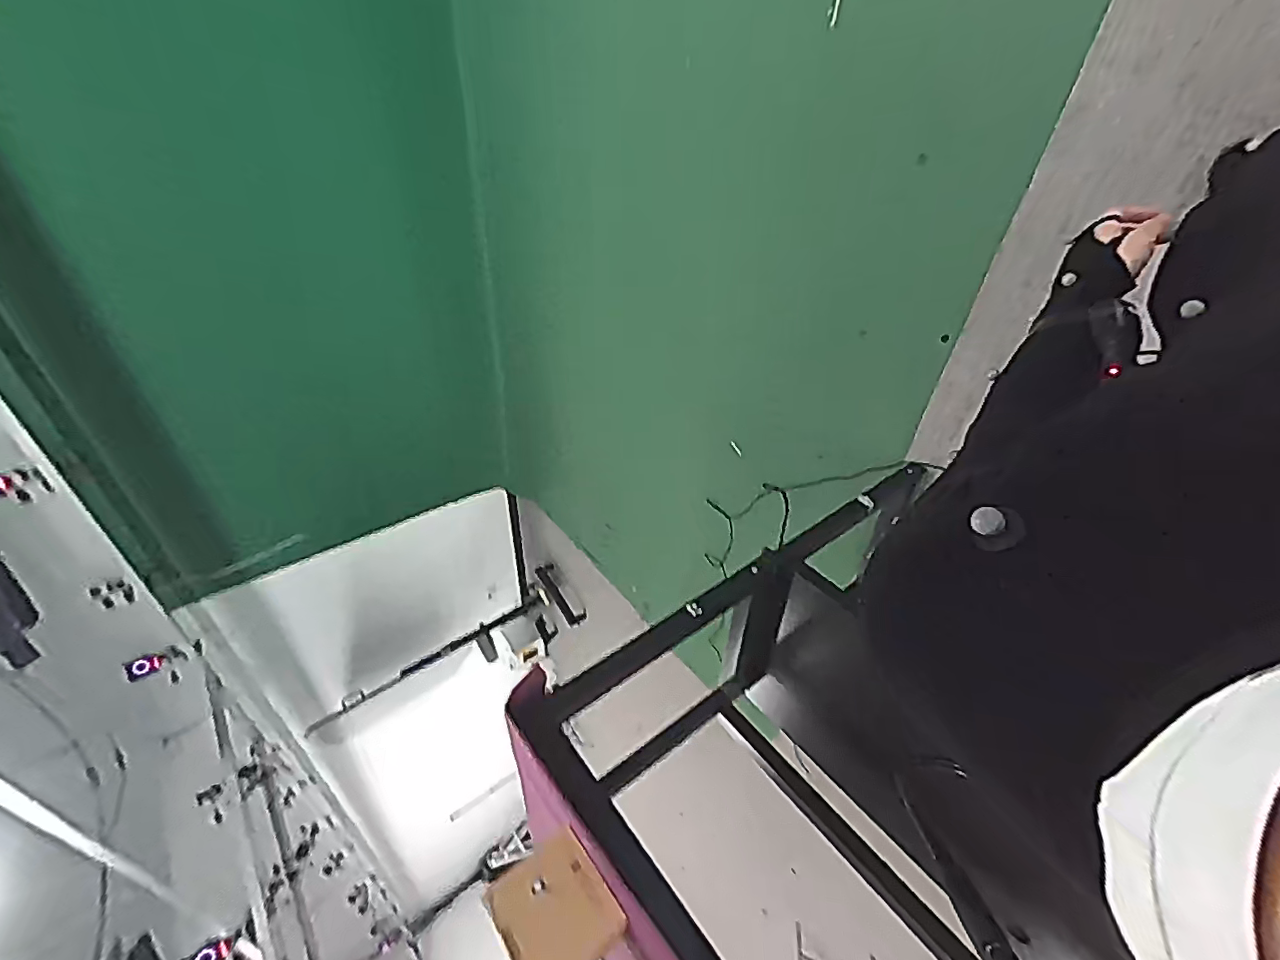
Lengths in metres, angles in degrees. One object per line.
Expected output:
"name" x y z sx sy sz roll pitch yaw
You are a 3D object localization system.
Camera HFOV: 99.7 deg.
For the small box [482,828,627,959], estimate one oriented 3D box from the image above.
"small box" -0.135 0.714 0.881 0.168 0.176 0.179 42 143 34
